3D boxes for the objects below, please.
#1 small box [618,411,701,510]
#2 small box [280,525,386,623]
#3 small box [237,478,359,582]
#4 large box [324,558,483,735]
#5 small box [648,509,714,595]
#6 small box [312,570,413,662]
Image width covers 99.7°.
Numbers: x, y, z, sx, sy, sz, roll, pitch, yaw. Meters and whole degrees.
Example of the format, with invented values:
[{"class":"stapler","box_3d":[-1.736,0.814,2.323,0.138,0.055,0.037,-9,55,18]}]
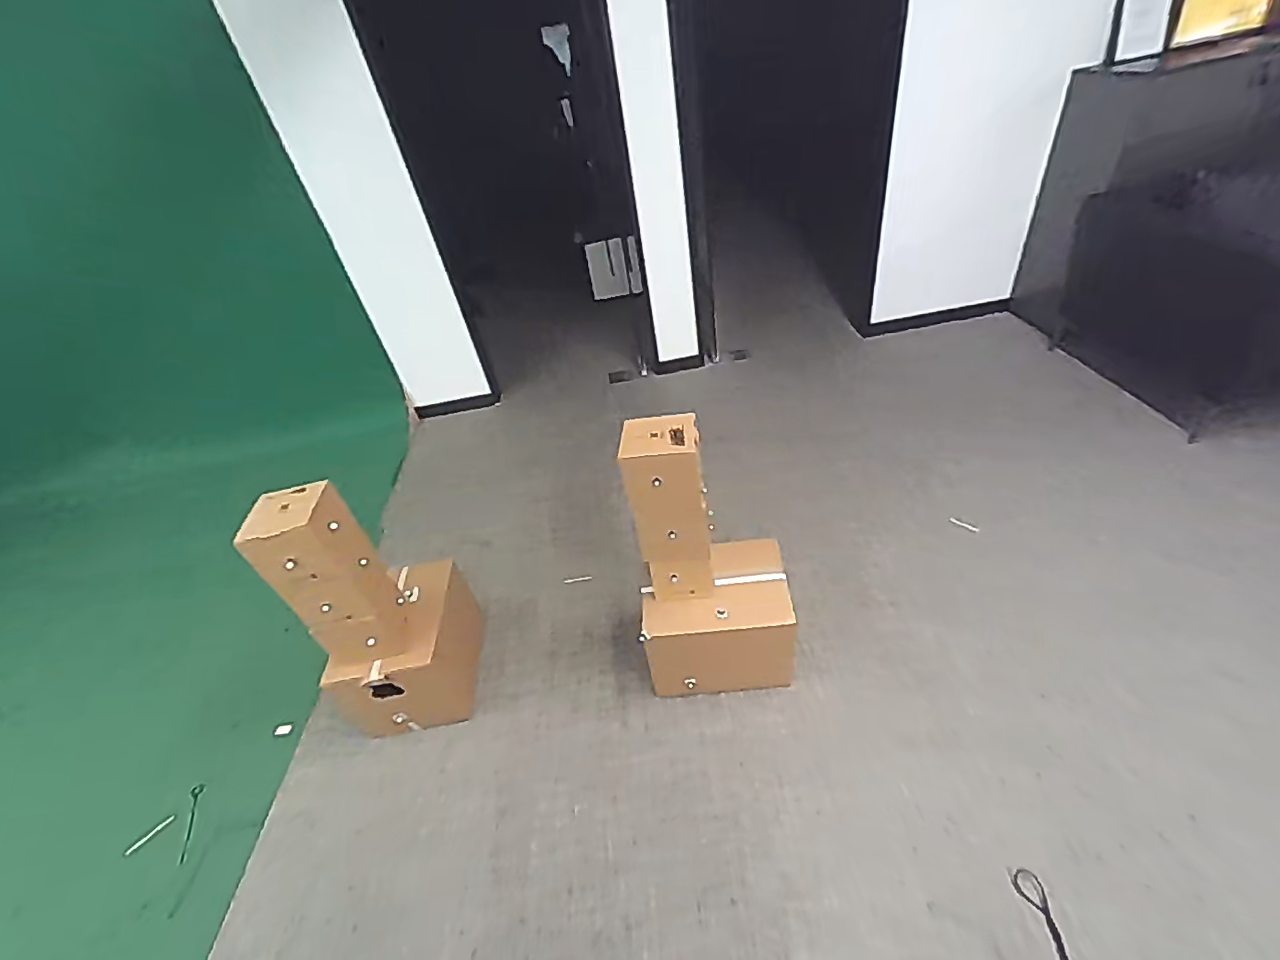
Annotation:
[{"class":"small box","box_3d":[0.055,-0.044,1.299,0.179,0.176,0.168,-5,38,10]},{"class":"small box","box_3d":[-0.786,0.251,1.408,0.168,0.176,0.179,-14,38,-4]},{"class":"small box","box_3d":[-0.810,0.126,1.303,0.168,0.176,0.179,-13,39,-2]},{"class":"large box","box_3d":[-0.713,0.519,1.713,0.320,0.320,0.408,-11,38,1]},{"class":"small box","box_3d":[0.114,0.206,1.506,0.168,0.176,0.179,-6,38,6]},{"class":"small box","box_3d":[-0.761,0.380,1.505,0.179,0.176,0.168,-12,39,0]}]
